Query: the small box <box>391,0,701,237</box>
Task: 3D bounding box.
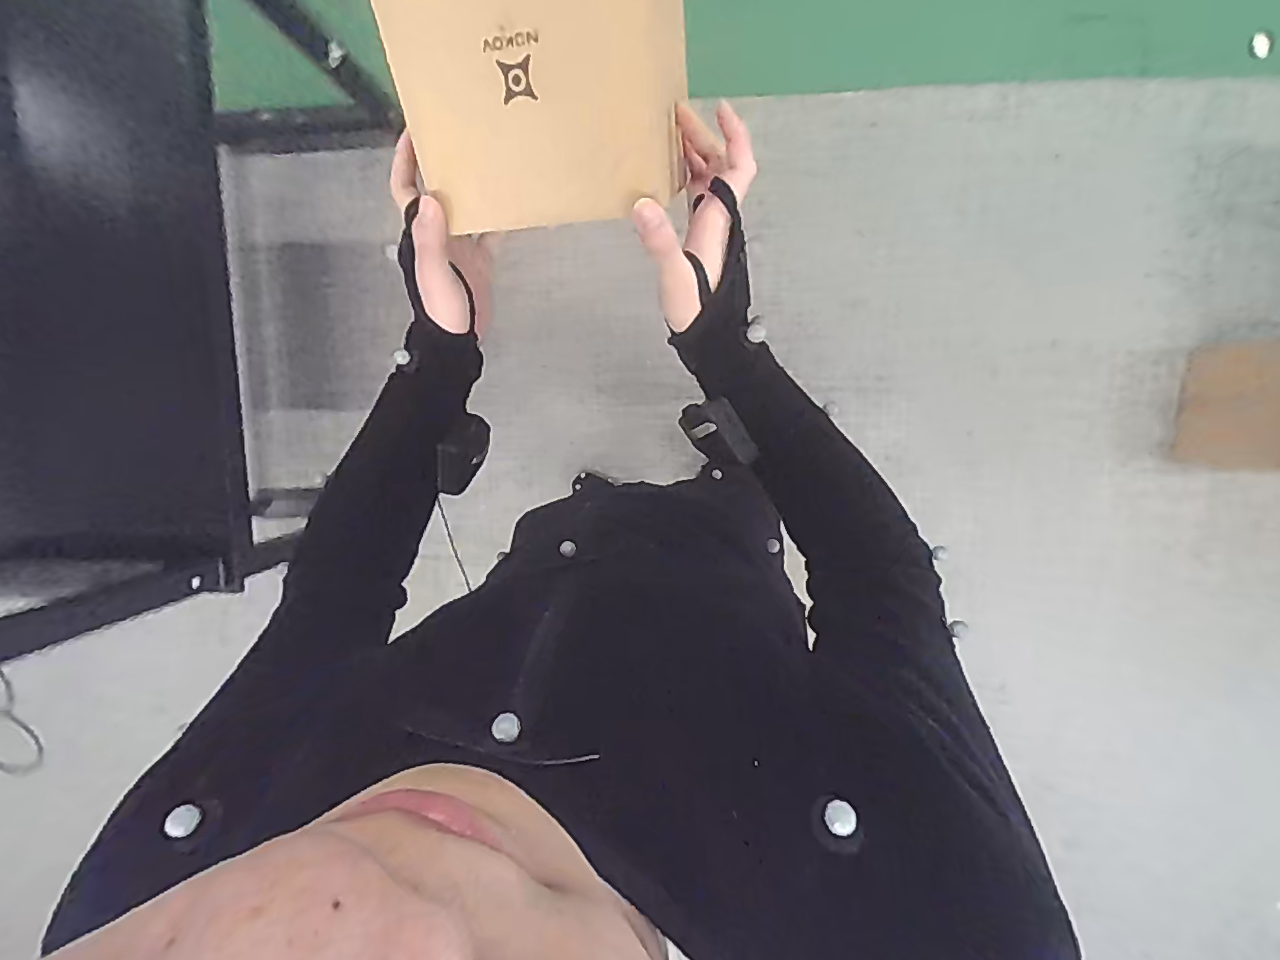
[{"bbox_3d":[-0.047,-0.291,0.395,0.168,0.176,0.179,1,123,13],"label":"small box"}]
